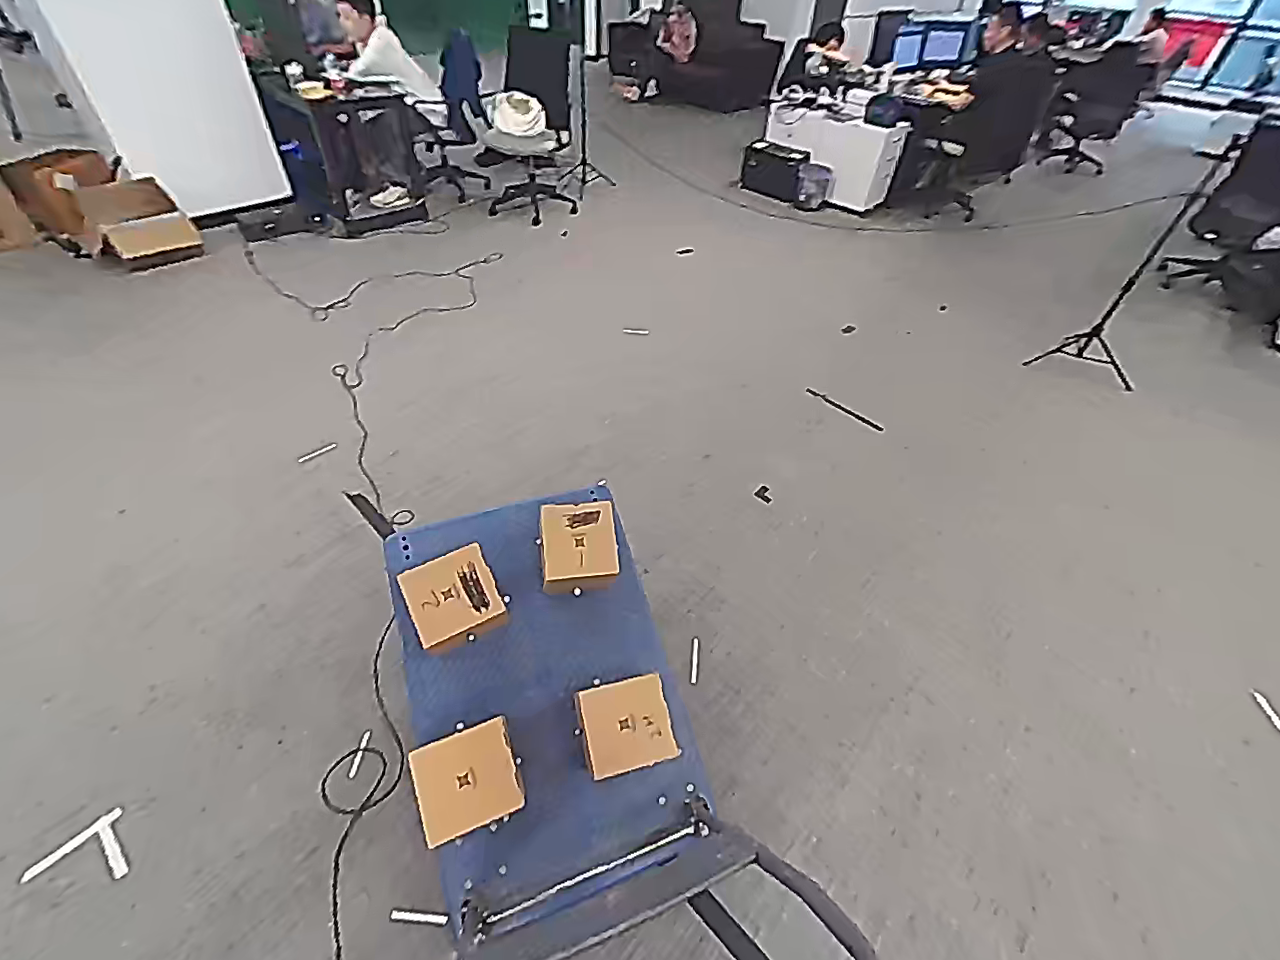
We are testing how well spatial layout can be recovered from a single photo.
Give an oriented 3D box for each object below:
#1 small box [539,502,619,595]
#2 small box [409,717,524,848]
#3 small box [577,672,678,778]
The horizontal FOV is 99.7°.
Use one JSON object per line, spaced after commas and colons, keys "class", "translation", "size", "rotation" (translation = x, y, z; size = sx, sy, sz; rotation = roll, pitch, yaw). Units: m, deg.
{"class": "small box", "translation": [-0.151, 0.165, 1.290], "size": [0.168, 0.176, 0.179], "rotation": [-4, 69, -13]}
{"class": "small box", "translation": [-0.335, 0.588, 1.069], "size": [0.179, 0.176, 0.168], "rotation": [-16, 71, -19]}
{"class": "small box", "translation": [-0.037, 0.521, 1.158], "size": [0.179, 0.176, 0.168], "rotation": [-9, 69, -15]}
